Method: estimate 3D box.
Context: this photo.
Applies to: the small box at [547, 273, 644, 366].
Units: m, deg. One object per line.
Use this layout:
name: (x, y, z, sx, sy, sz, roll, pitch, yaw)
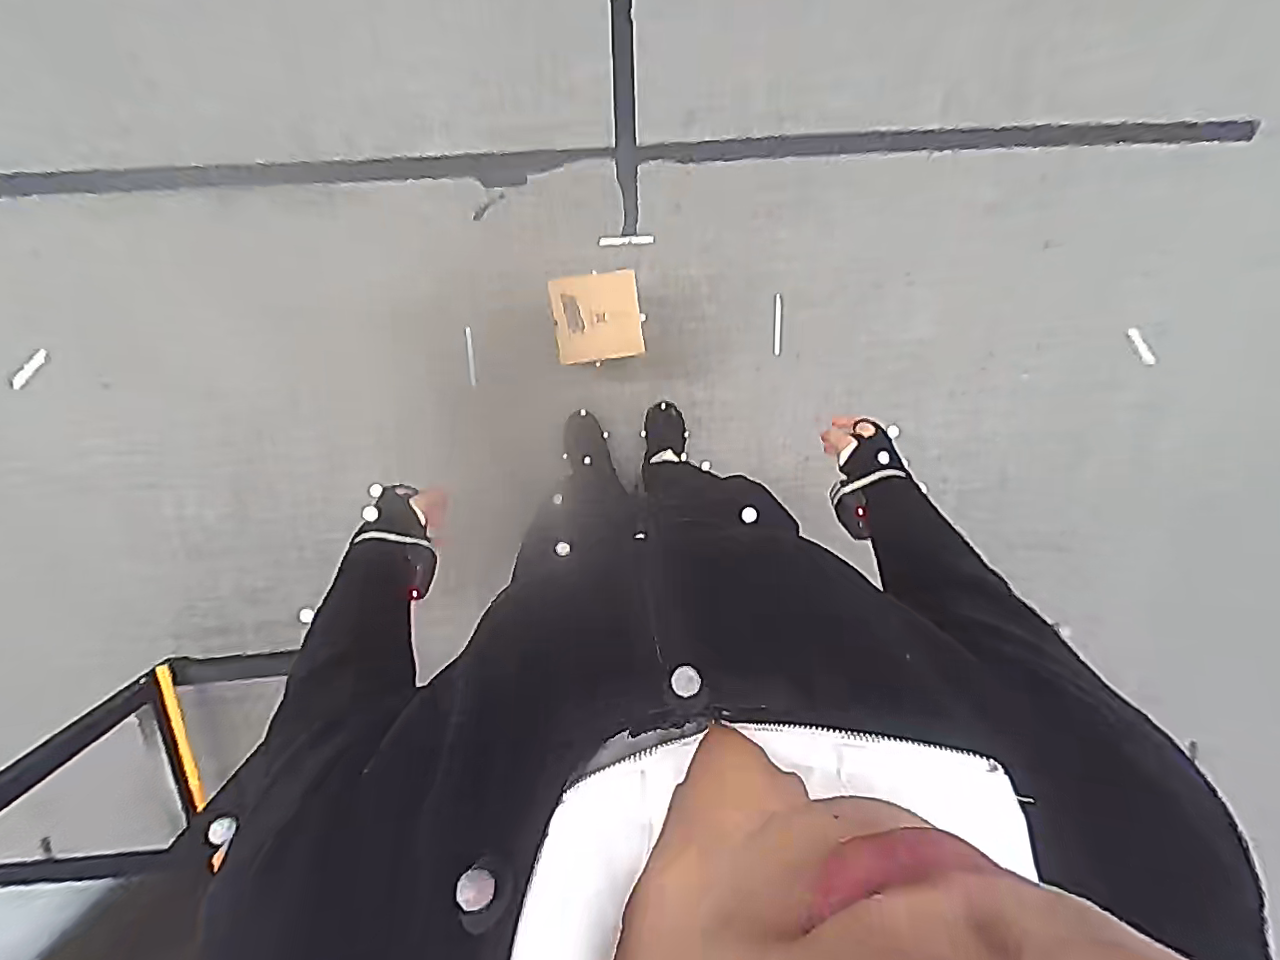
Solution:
small box: (-0.090, -0.334, 1.151, 0.179, 0.176, 0.168, -8, 104, -1)
